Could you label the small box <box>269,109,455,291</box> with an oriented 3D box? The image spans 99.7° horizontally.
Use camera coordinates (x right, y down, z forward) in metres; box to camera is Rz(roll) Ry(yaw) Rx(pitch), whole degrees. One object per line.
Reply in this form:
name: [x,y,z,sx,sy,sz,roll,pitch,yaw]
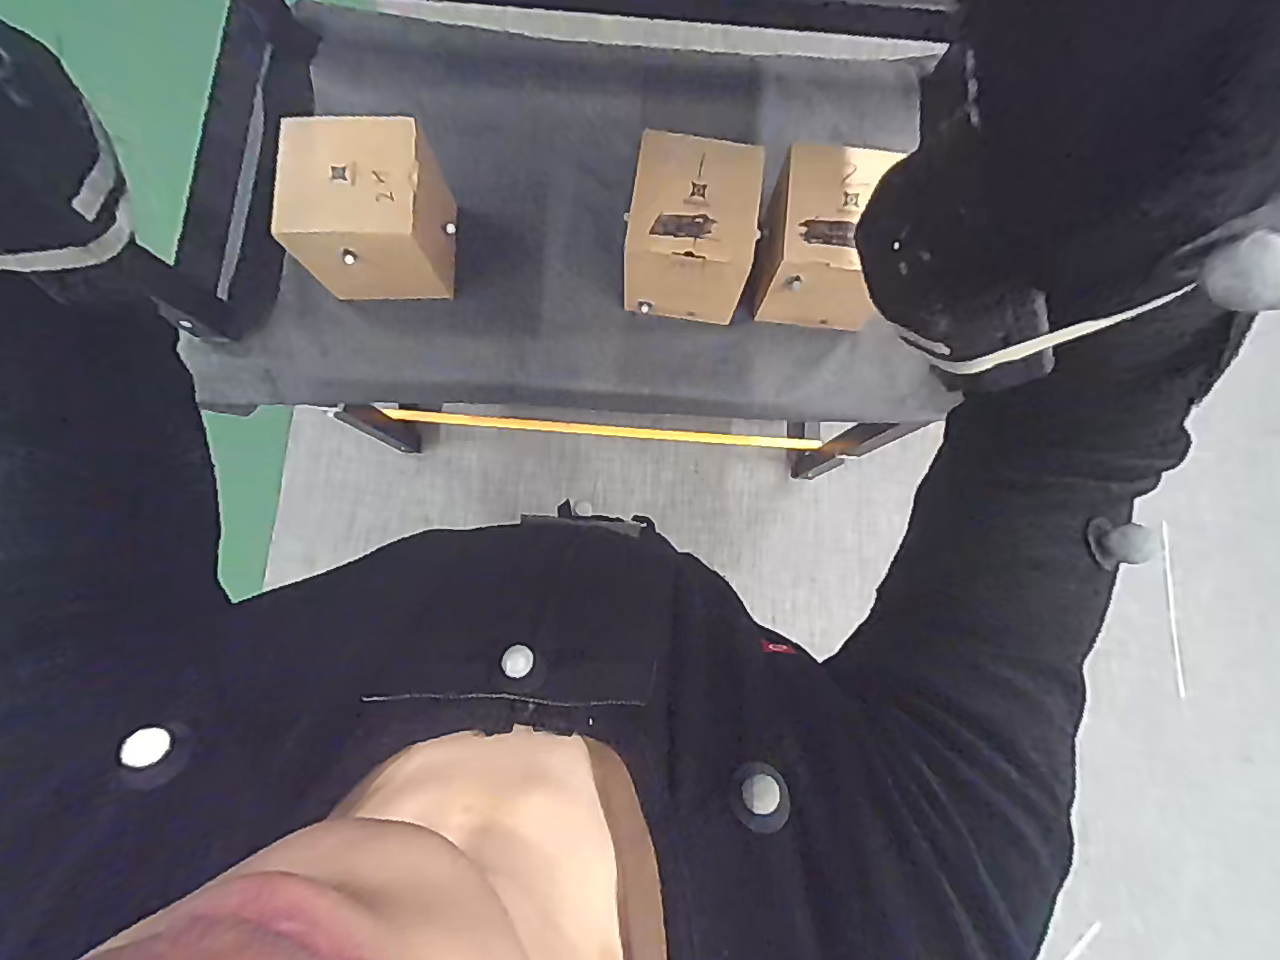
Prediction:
small box: [-0.377,-0.381,0.761,0.179,0.176,0.168,-1,82,-3]
